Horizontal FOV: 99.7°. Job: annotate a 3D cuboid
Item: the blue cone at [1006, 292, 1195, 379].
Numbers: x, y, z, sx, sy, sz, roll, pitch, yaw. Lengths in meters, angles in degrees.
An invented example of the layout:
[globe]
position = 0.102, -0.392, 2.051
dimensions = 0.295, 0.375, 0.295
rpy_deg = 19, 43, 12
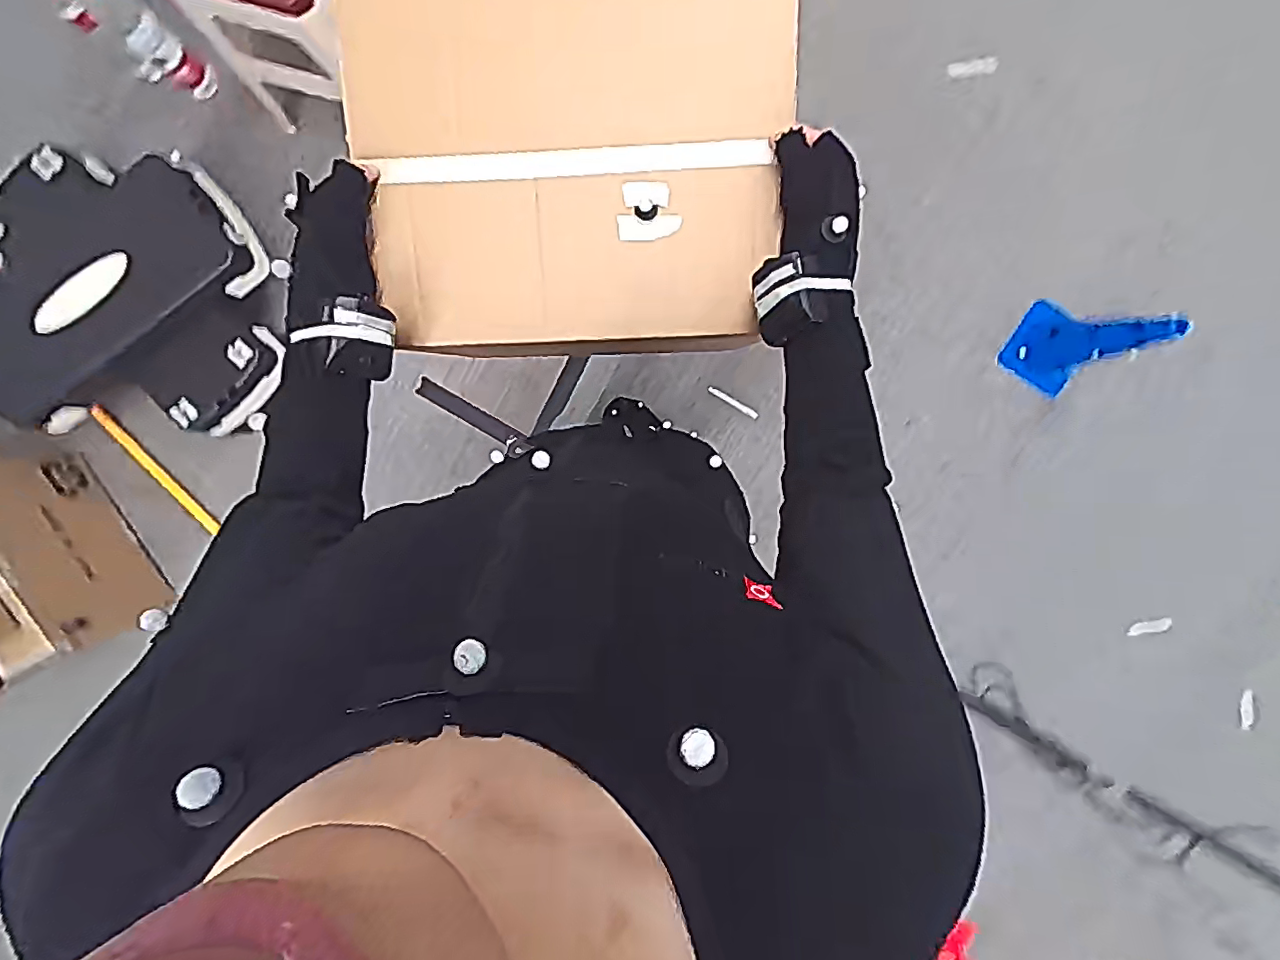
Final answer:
[blue cone]
position = 1.084, -0.360, 1.265
dimensions = 0.193, 0.380, 0.192
rpy_deg = 32, 95, -4

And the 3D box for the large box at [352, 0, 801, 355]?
[large box]
position = -0.054, -0.320, 0.645
dimensions = 0.408, 0.320, 0.320
rpy_deg = -1, 101, 1
